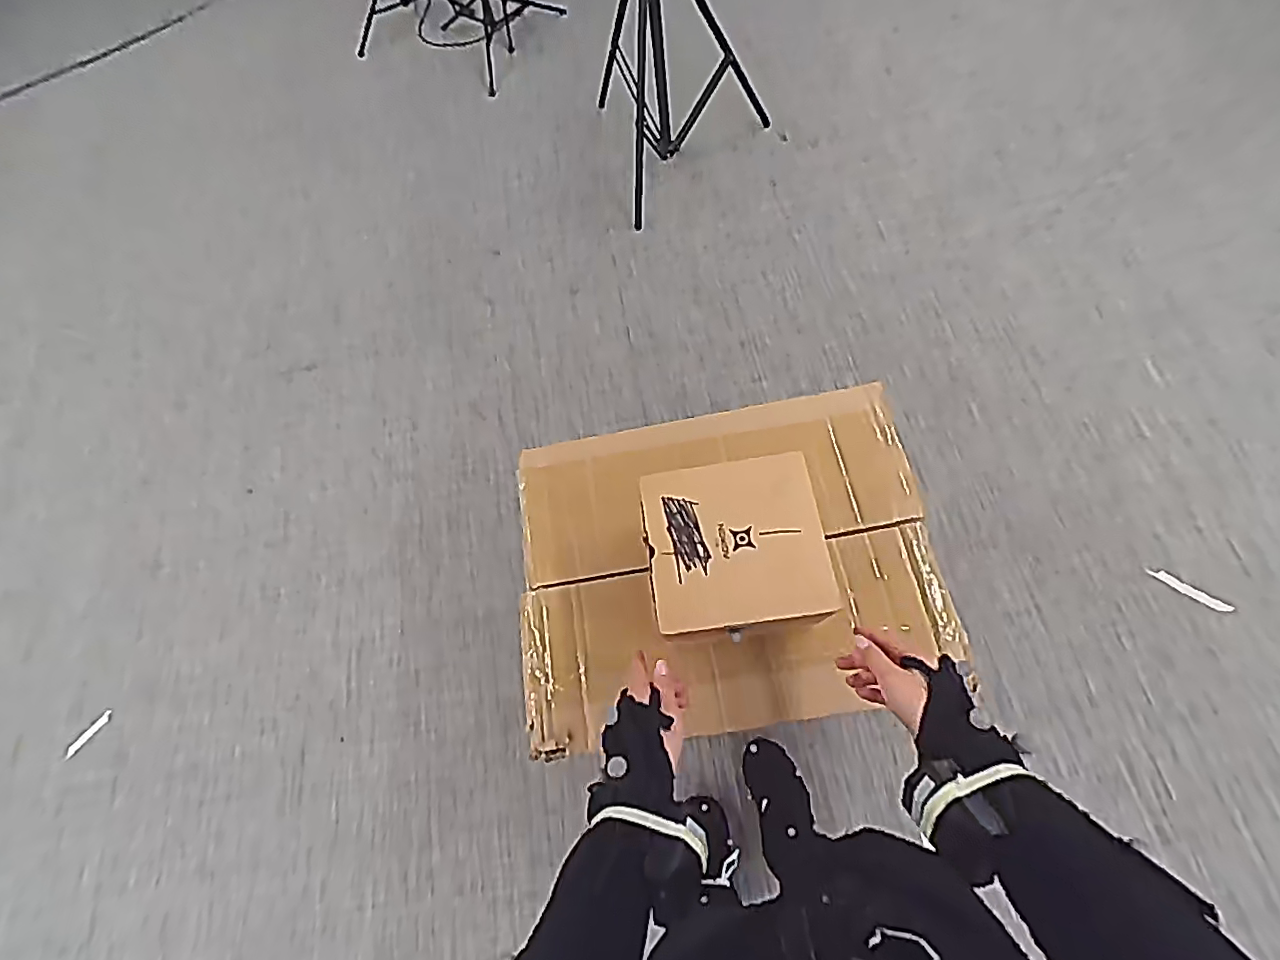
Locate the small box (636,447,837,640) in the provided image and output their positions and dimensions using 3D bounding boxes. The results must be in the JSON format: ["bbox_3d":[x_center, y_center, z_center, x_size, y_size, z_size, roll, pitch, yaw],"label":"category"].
[{"bbox_3d":[0.100,0.082,0.611,0.179,0.176,0.168,-9,69,4],"label":"small box"}]
